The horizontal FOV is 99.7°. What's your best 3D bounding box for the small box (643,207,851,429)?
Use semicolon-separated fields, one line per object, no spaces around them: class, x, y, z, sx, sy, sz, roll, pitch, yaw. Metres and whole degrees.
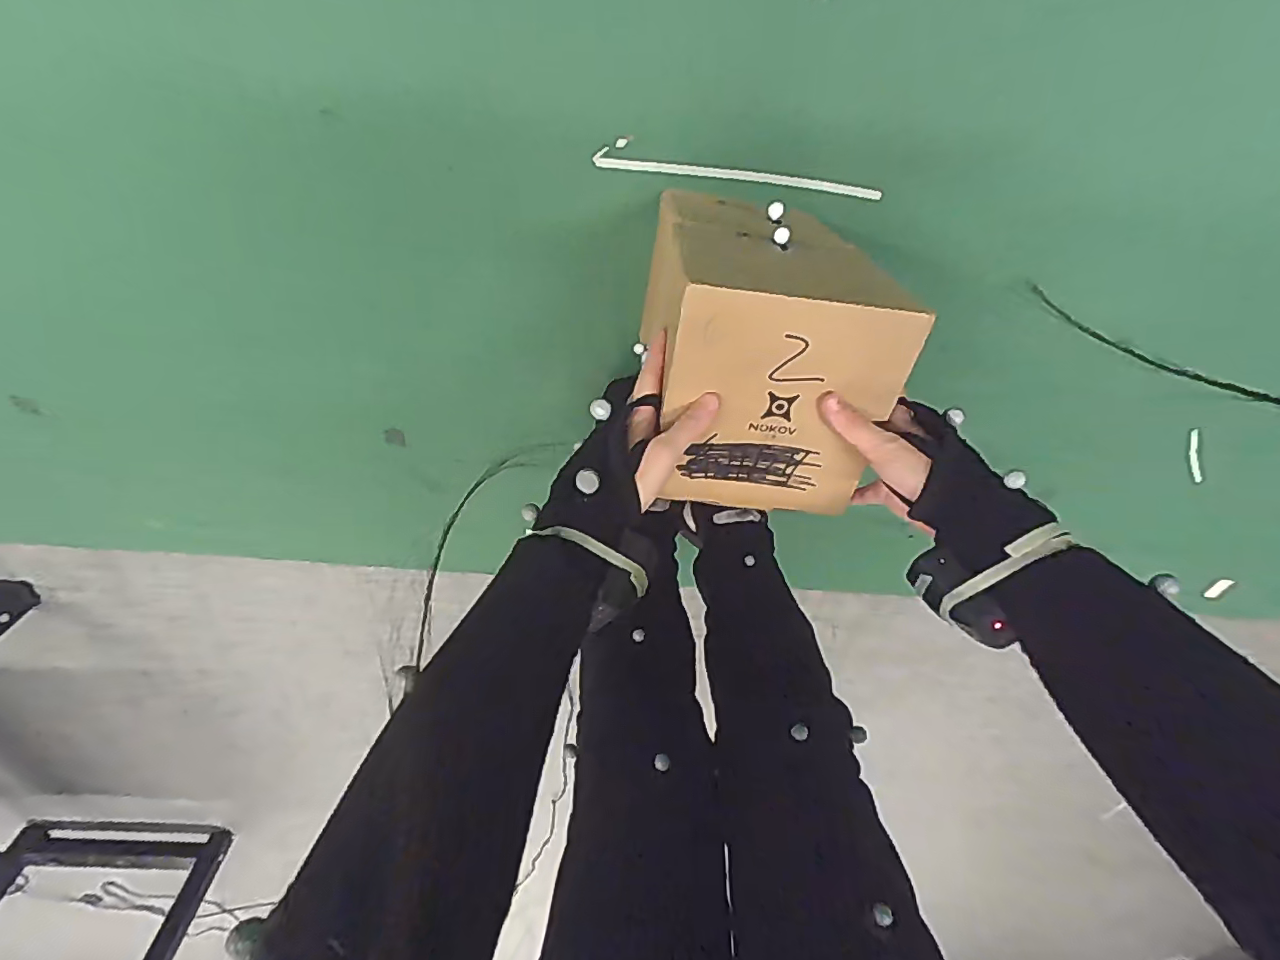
small box;0.096;-0.181;0.589;0.168;0.176;0.179;7;127;-6
